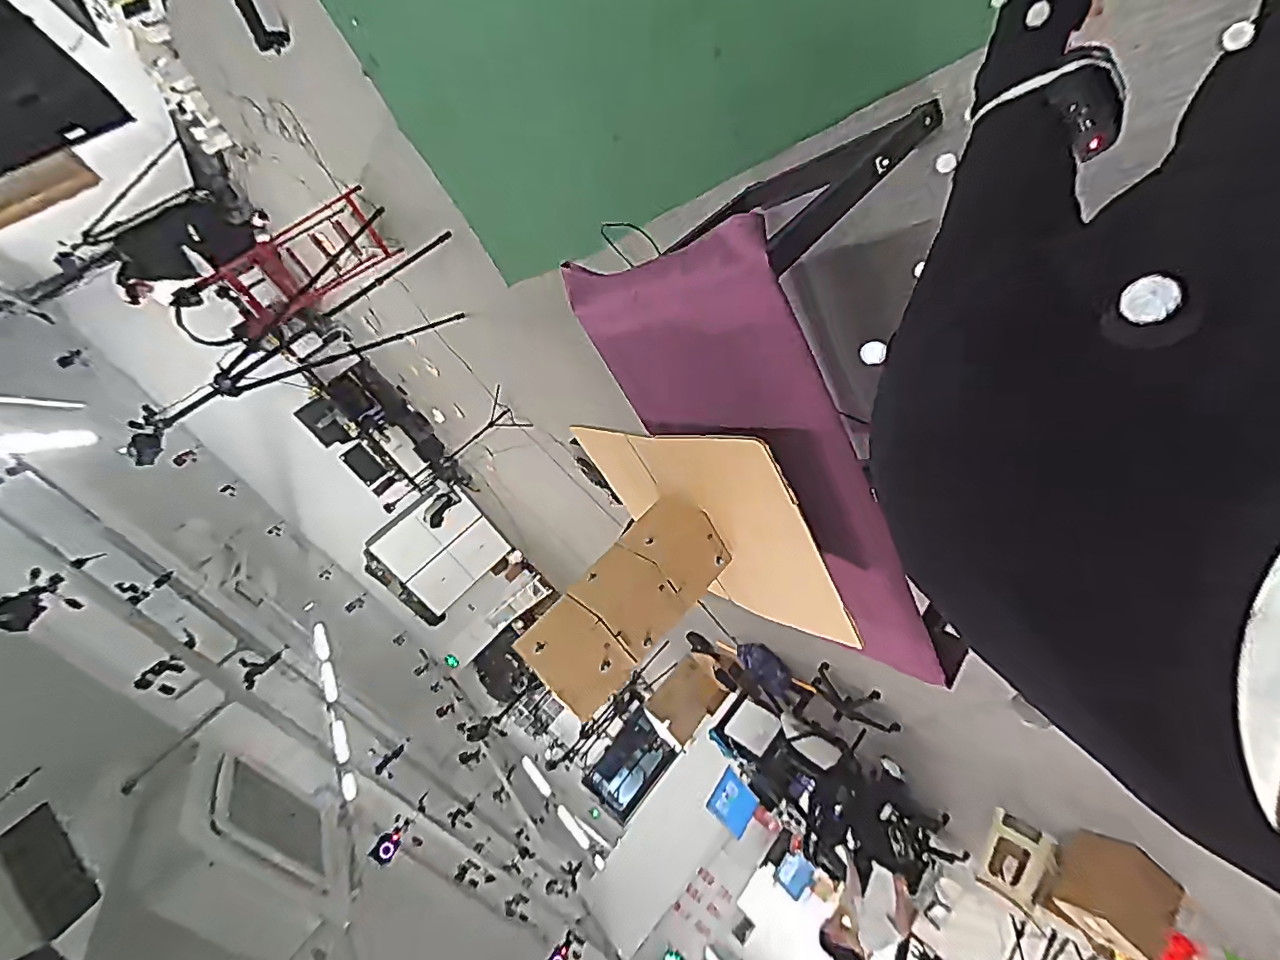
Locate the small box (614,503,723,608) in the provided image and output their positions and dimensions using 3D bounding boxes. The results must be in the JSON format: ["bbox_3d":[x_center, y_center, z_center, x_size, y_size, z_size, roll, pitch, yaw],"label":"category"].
[{"bbox_3d":[0.077,0.173,1.299,0.179,0.176,0.168,10,140,55],"label":"small box"}]

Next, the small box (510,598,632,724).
[{"bbox_3d":[-0.148,0.386,1.190,0.179,0.176,0.168,14,142,56],"label":"small box"}]
